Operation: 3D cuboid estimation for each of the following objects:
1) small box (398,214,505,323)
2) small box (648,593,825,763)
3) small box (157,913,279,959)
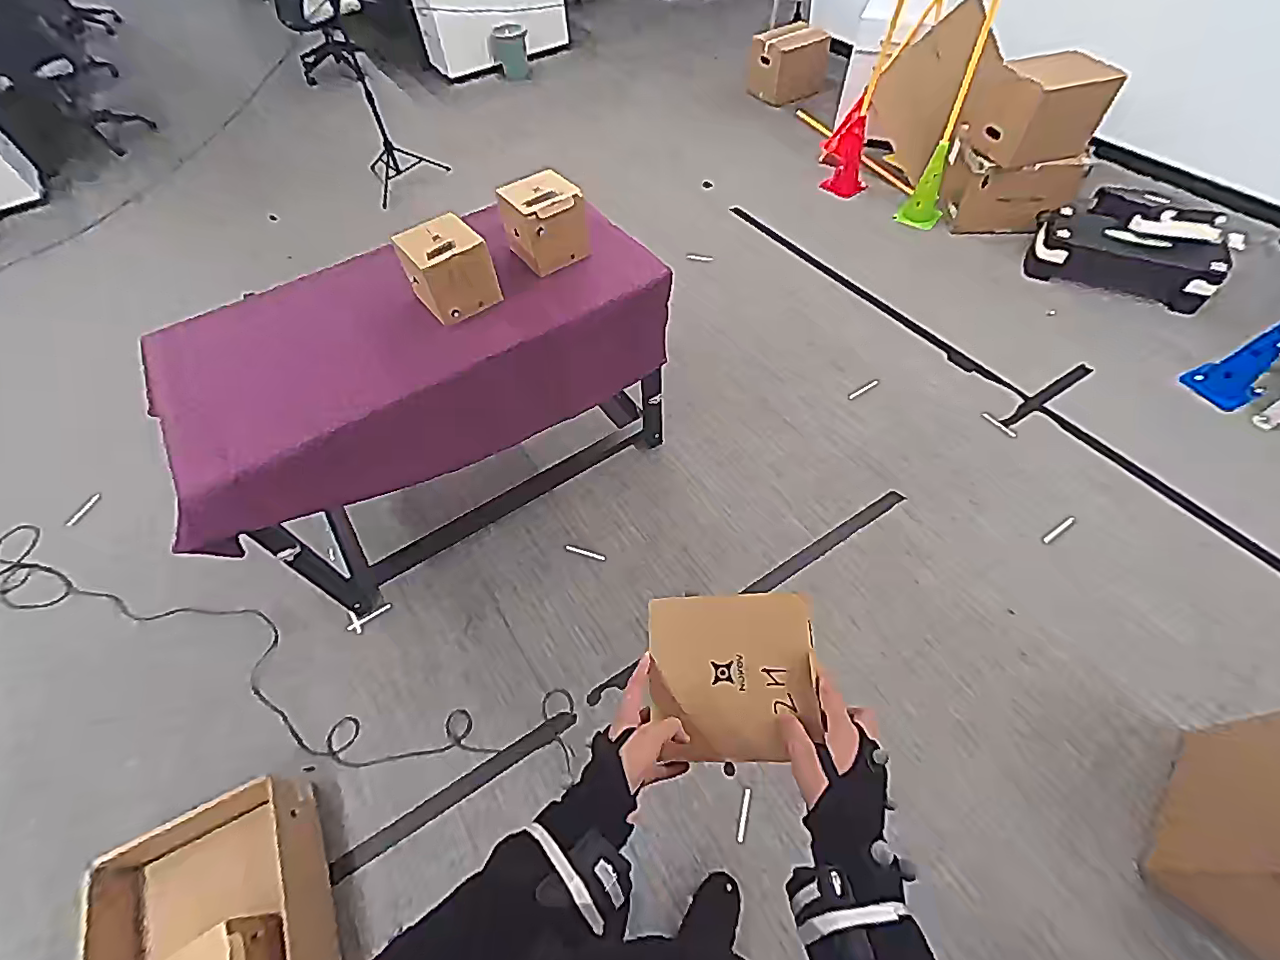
[{"bbox_3d":[-0.459,-0.517,1.339,0.168,0.176,0.179,-34,60,-19],"label":"small box"},{"bbox_3d":[0.110,0.232,0.633,0.179,0.176,0.168,-4,67,10],"label":"small box"},{"bbox_3d":[-0.877,1.038,1.119,0.179,0.176,0.168,-29,57,-16],"label":"small box"}]
